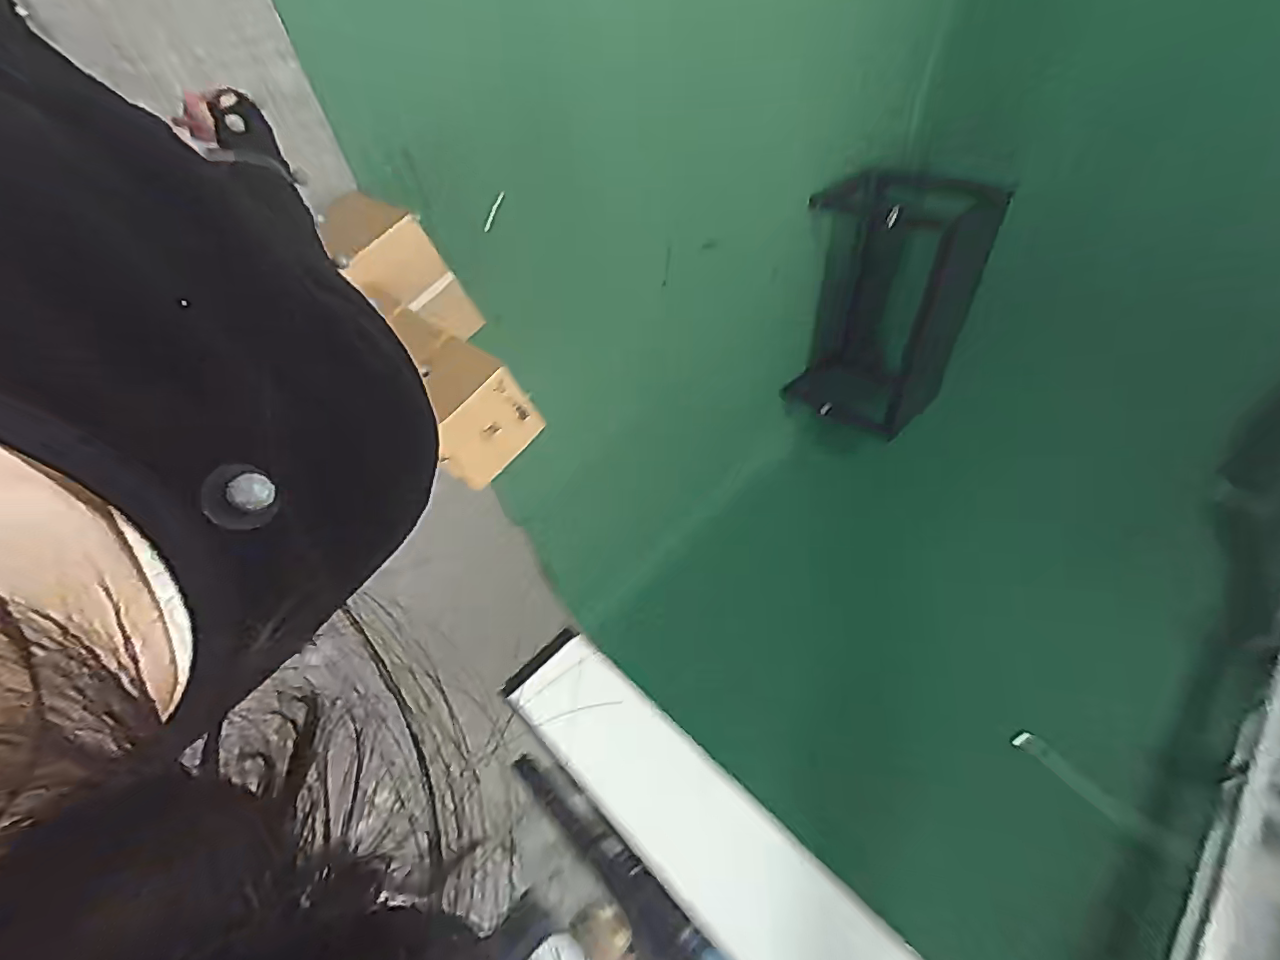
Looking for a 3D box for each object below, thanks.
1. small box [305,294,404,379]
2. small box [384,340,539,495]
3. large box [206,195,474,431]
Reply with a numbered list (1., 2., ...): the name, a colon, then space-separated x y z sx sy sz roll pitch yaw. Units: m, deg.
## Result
1. small box: -0.551 -0.266 1.128 0.168 0.176 0.179 -47 146 -15
2. small box: -0.319 -0.113 0.954 0.179 0.176 0.168 -46 146 -14
3. large box: -0.692 -0.400 1.281 0.408 0.320 0.320 -49 147 -15
